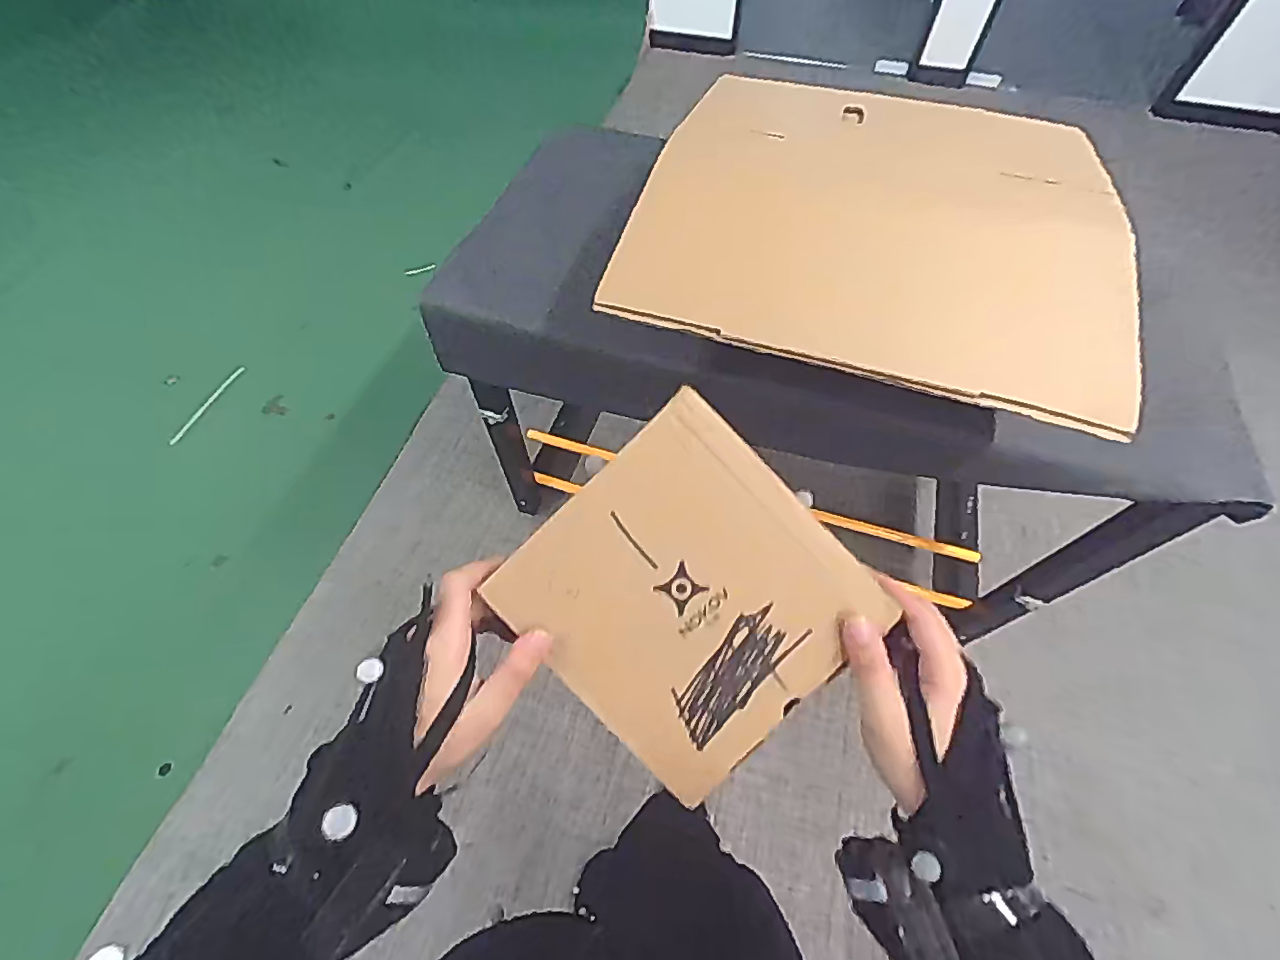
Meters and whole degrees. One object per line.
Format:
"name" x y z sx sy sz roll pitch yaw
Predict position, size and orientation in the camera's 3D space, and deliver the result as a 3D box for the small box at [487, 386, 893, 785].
"small box" 0.030 0.058 0.387 0.168 0.176 0.179 -45 90 1
